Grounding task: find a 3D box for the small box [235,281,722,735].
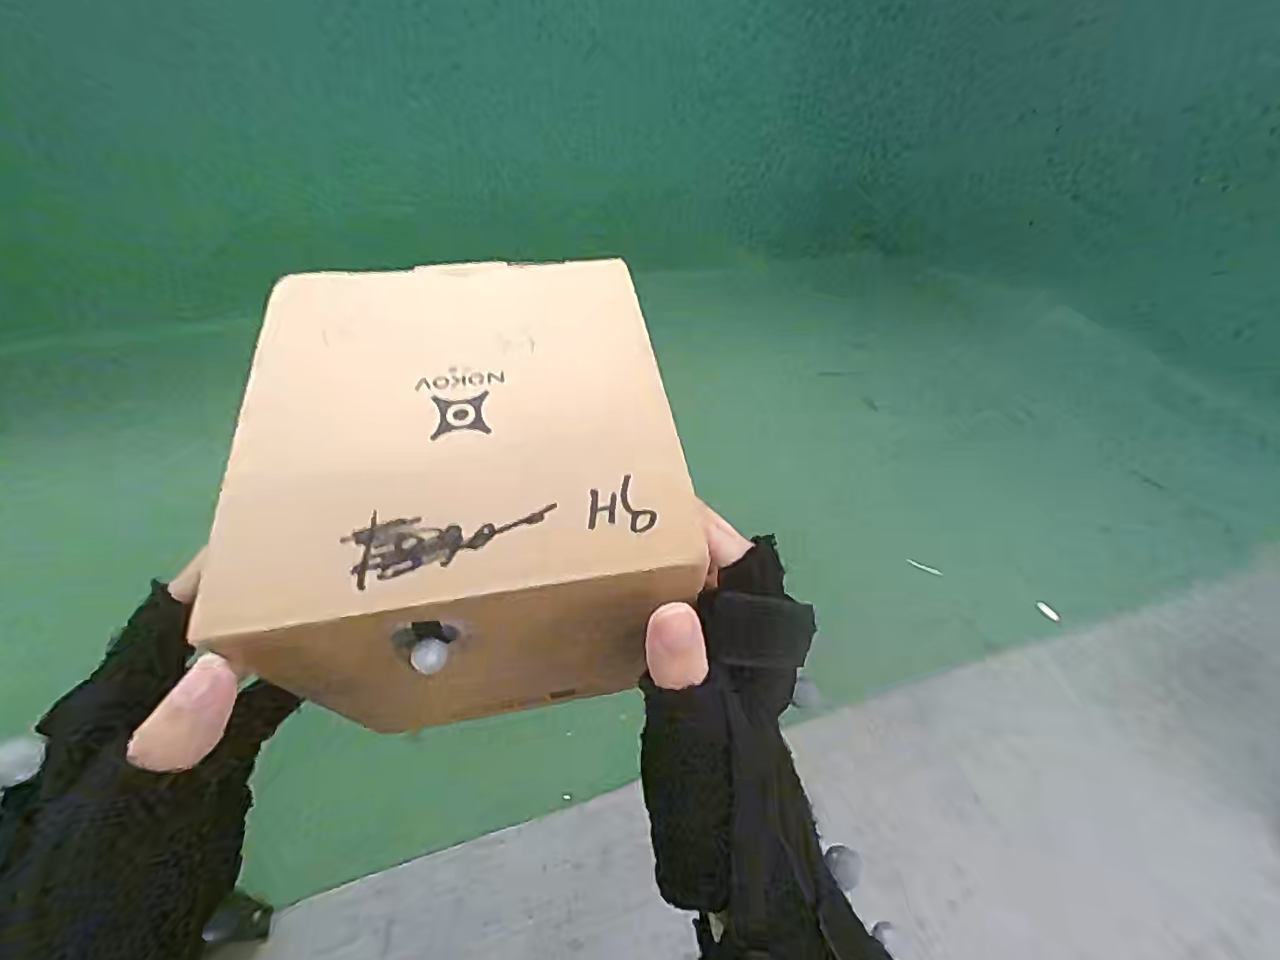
[{"bbox_3d":[-0.067,0.019,0.295,0.168,0.176,0.179,-7,56,-7],"label":"small box"}]
